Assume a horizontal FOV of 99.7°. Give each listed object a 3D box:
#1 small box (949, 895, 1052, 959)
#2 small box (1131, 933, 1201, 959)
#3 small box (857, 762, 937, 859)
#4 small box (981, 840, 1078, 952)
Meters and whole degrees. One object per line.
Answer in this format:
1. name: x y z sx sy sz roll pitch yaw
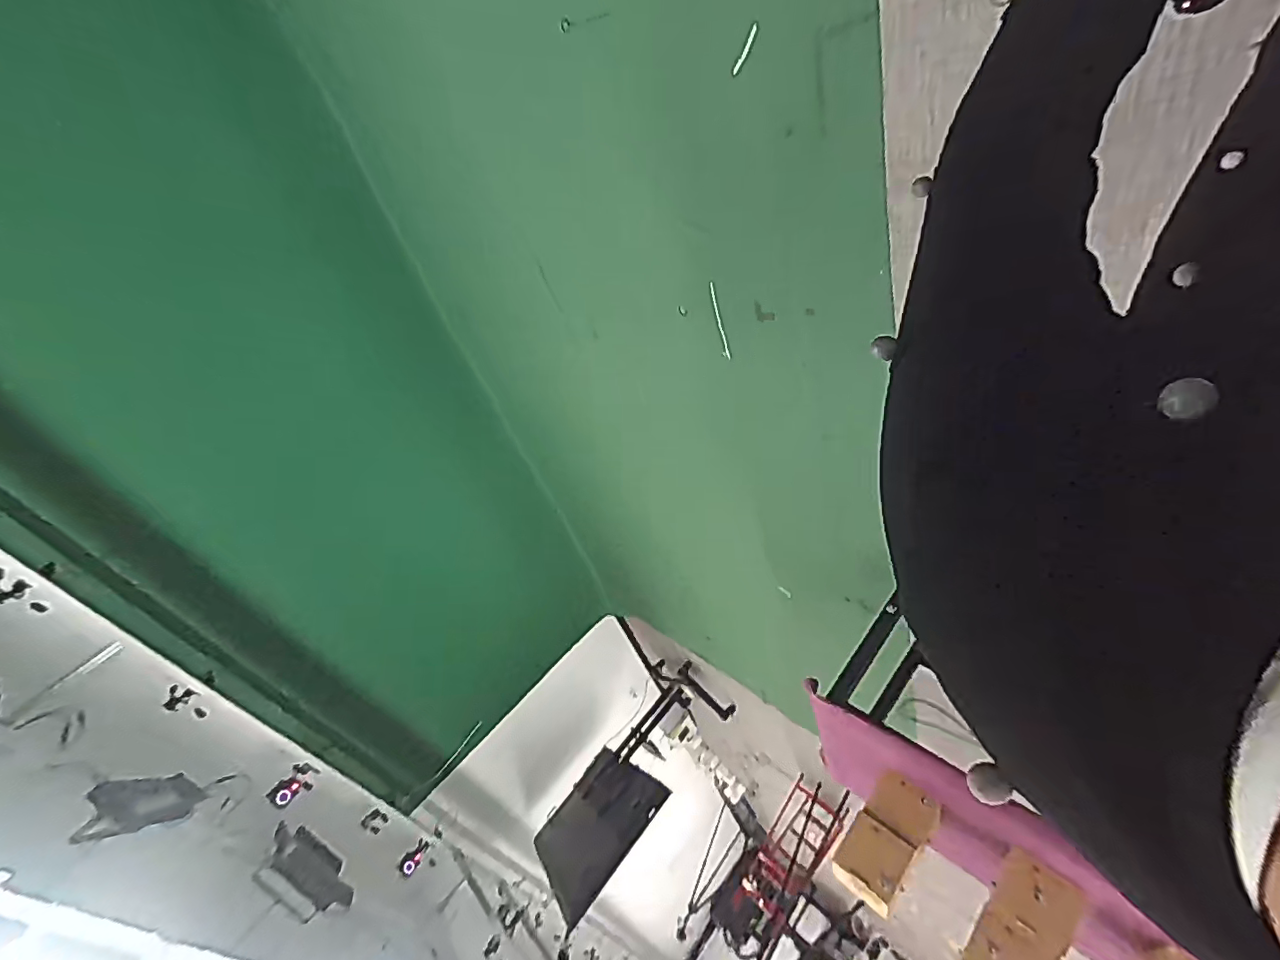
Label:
1. small box: 0.910 1.199 1.367 0.168 0.176 0.179 24 147 41
2. small box: 1.232 1.188 1.228 0.168 0.176 0.179 25 147 40
3. small box: 0.790 1.010 1.664 0.168 0.176 0.179 27 149 40
4. small box: 1.022 1.098 1.429 0.168 0.176 0.179 25 147 40
